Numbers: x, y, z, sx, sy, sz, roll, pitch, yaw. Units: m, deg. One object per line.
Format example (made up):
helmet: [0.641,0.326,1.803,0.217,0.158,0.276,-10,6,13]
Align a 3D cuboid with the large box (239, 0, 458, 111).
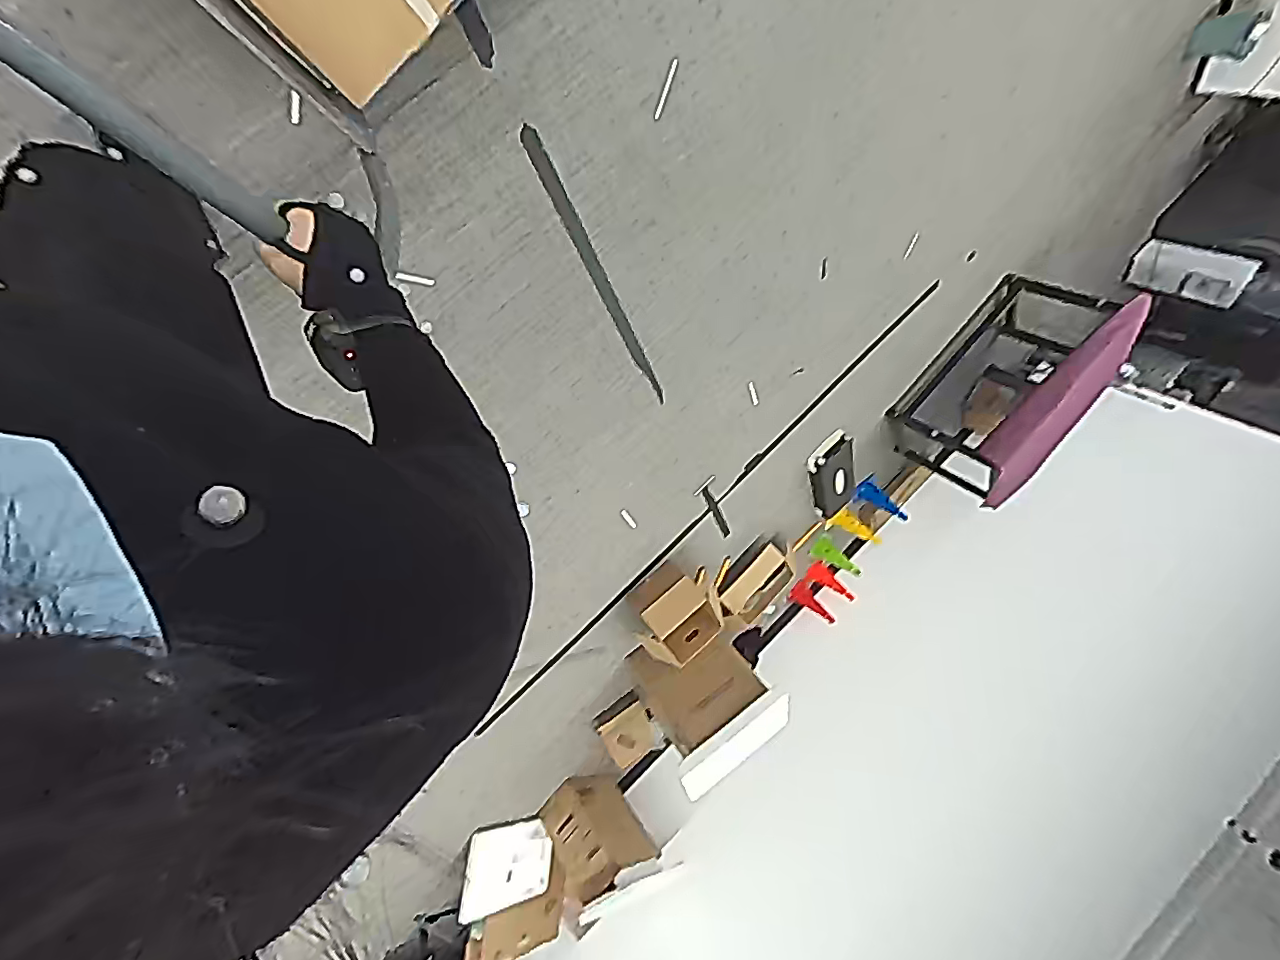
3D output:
large box: [-0.450,-0.782,0.660,0.320,0.320,0.408,-40,146,9]
